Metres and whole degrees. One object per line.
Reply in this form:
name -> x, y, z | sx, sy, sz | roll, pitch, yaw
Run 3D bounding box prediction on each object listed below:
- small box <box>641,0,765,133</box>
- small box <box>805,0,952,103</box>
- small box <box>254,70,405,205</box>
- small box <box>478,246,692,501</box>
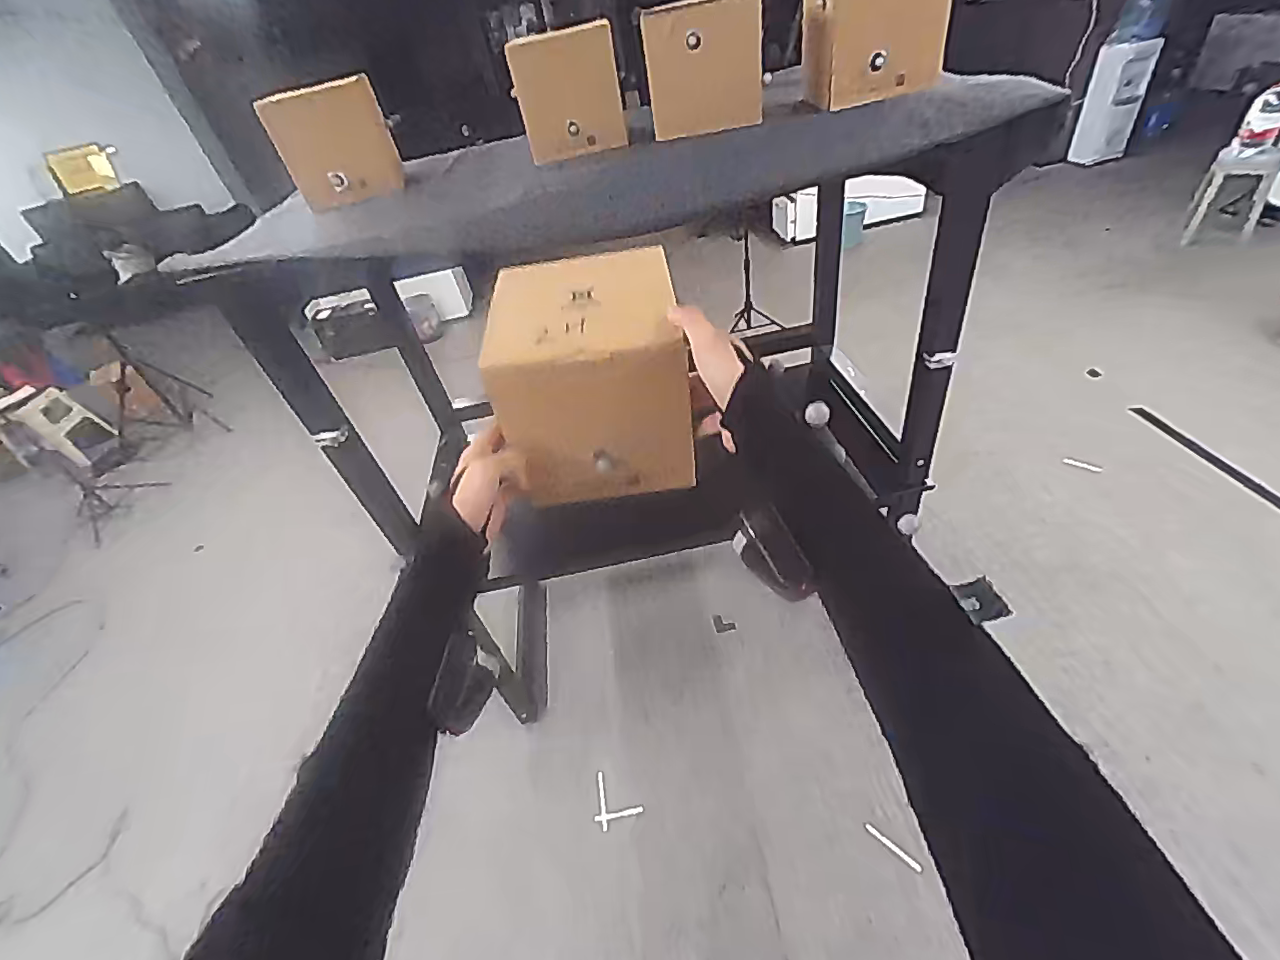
small box -> 0.112, -0.685, 0.881 | 0.179, 0.176, 0.168 | -1, 42, 13
small box -> 0.358, -0.702, 0.836 | 0.168, 0.176, 0.179 | -9, 41, 6
small box -> -0.538, -0.612, 0.969 | 0.168, 0.176, 0.179 | -19, 42, -6
small box -> -0.042, -0.103, 0.530 | 0.168, 0.176, 0.179 | -8, 46, 2
